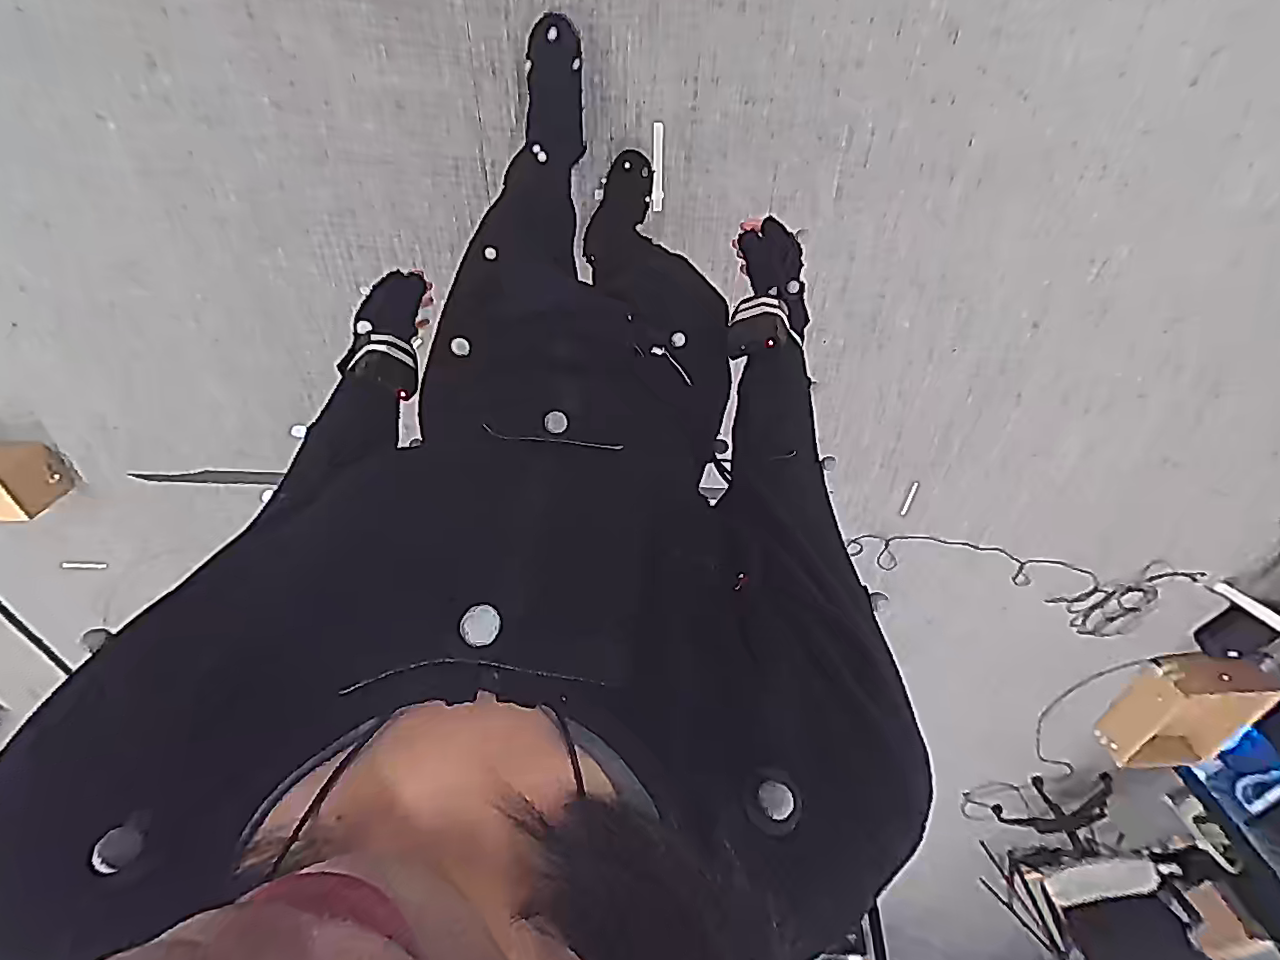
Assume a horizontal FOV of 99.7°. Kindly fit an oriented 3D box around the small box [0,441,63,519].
[{"bbox_3d":[-1.876,-0.003,1.573,0.179,0.176,0.168,1,127,-3],"label":"small box"}]
